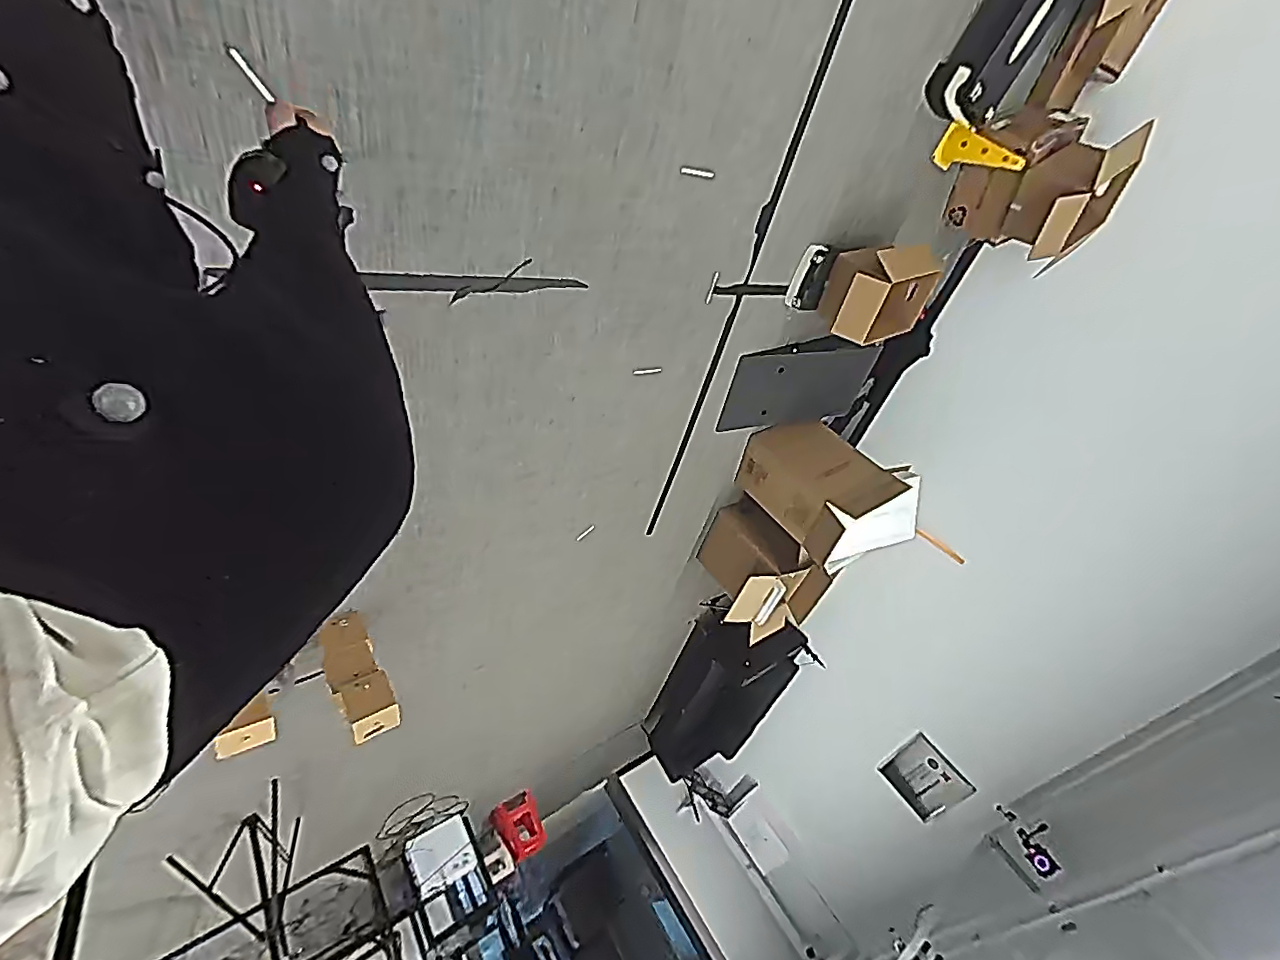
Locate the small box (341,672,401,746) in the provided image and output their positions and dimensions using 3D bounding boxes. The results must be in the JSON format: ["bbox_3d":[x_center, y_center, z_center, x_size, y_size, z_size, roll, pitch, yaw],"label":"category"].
[{"bbox_3d":[-1.045,0.885,2.101,0.168,0.176,0.179,-18,140,-36],"label":"small box"}]

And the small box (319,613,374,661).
[{"bbox_3d":[-1.239,0.696,2.287,0.168,0.176,0.179,-19,141,-33],"label":"small box"}]

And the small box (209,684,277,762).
[{"bbox_3d":[-1.448,0.878,1.973,0.179,0.176,0.168,-11,136,-39],"label":"small box"}]

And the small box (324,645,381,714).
[{"bbox_3d":[-1.156,0.804,2.194,0.179,0.176,0.168,-20,141,-32],"label":"small box"}]
